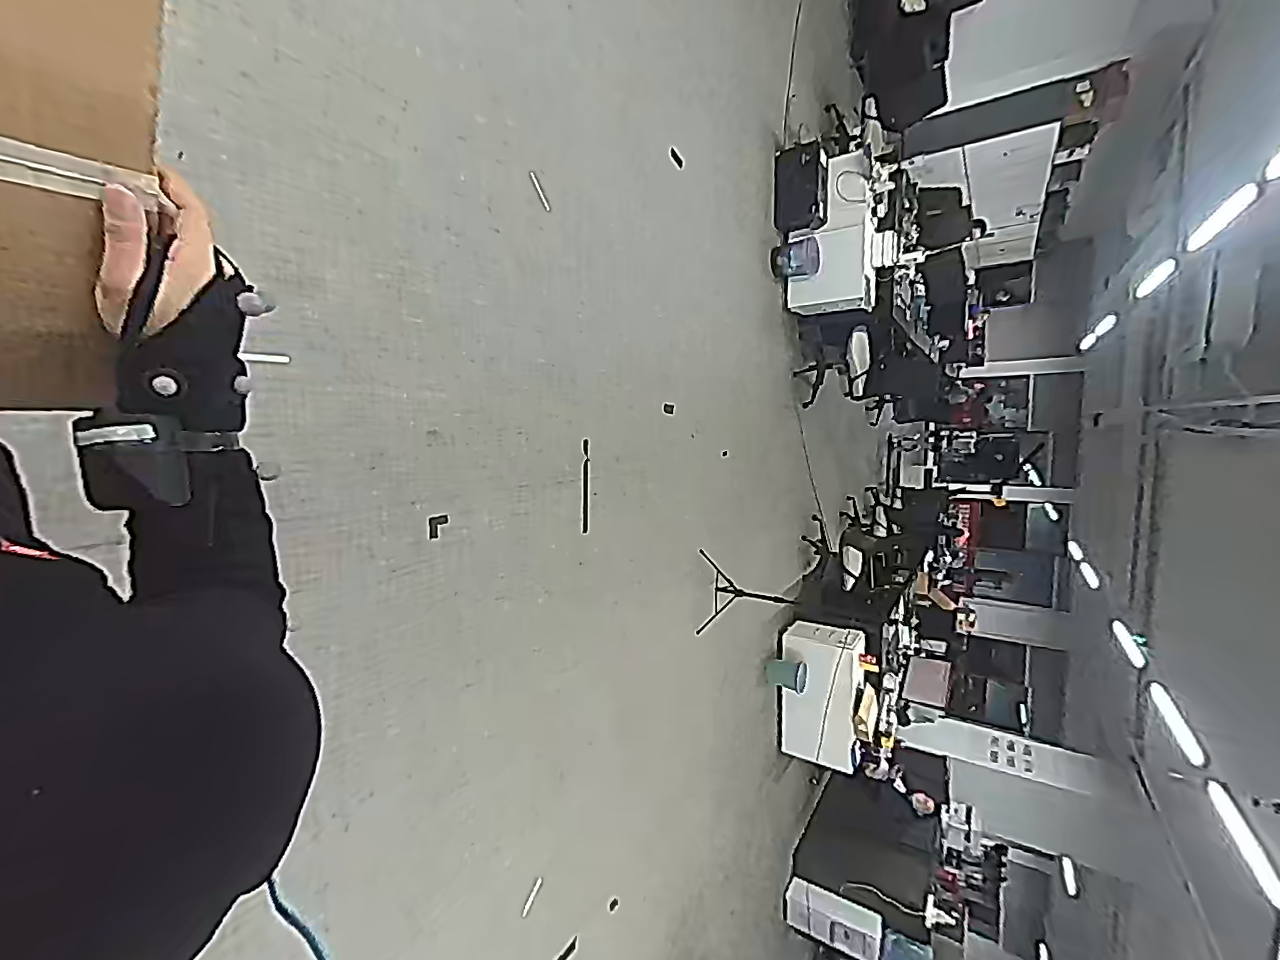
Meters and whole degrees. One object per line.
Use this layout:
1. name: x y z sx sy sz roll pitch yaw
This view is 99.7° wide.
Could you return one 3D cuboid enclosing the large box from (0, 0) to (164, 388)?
1. large box: -0.525 -0.255 0.246 0.408 0.320 0.320 -10 137 -53
